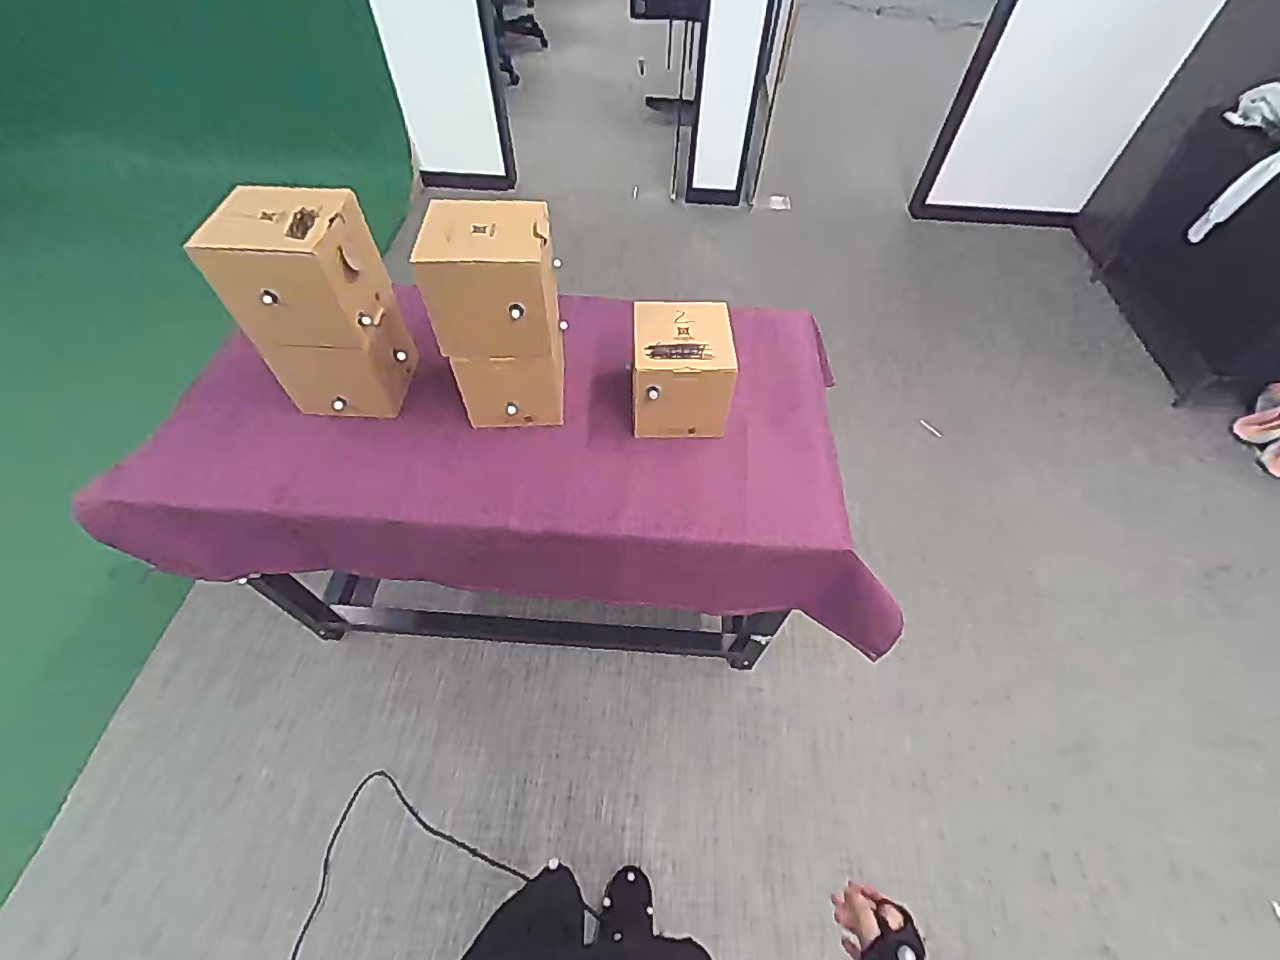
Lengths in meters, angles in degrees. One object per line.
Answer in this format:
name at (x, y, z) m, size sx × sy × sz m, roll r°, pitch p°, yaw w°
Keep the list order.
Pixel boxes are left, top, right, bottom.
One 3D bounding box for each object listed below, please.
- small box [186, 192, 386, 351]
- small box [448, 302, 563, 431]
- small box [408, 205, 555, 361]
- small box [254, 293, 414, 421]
small box at (-0.525, -0.316, 0.837) m, size 0.179 × 0.176 × 0.168 m, roll 2°, pitch 55°, yaw 0°
small box at (-0.231, -0.208, 0.974) m, size 0.168 × 0.176 × 0.179 m, roll -2°, pitch 56°, yaw -3°
small box at (-0.230, -0.299, 0.838) m, size 0.179 × 0.176 × 0.168 m, roll -1°, pitch 54°, yaw -2°
small box at (-0.530, -0.221, 0.972) m, size 0.179 × 0.176 × 0.168 m, roll 3°, pitch 54°, yaw -1°
